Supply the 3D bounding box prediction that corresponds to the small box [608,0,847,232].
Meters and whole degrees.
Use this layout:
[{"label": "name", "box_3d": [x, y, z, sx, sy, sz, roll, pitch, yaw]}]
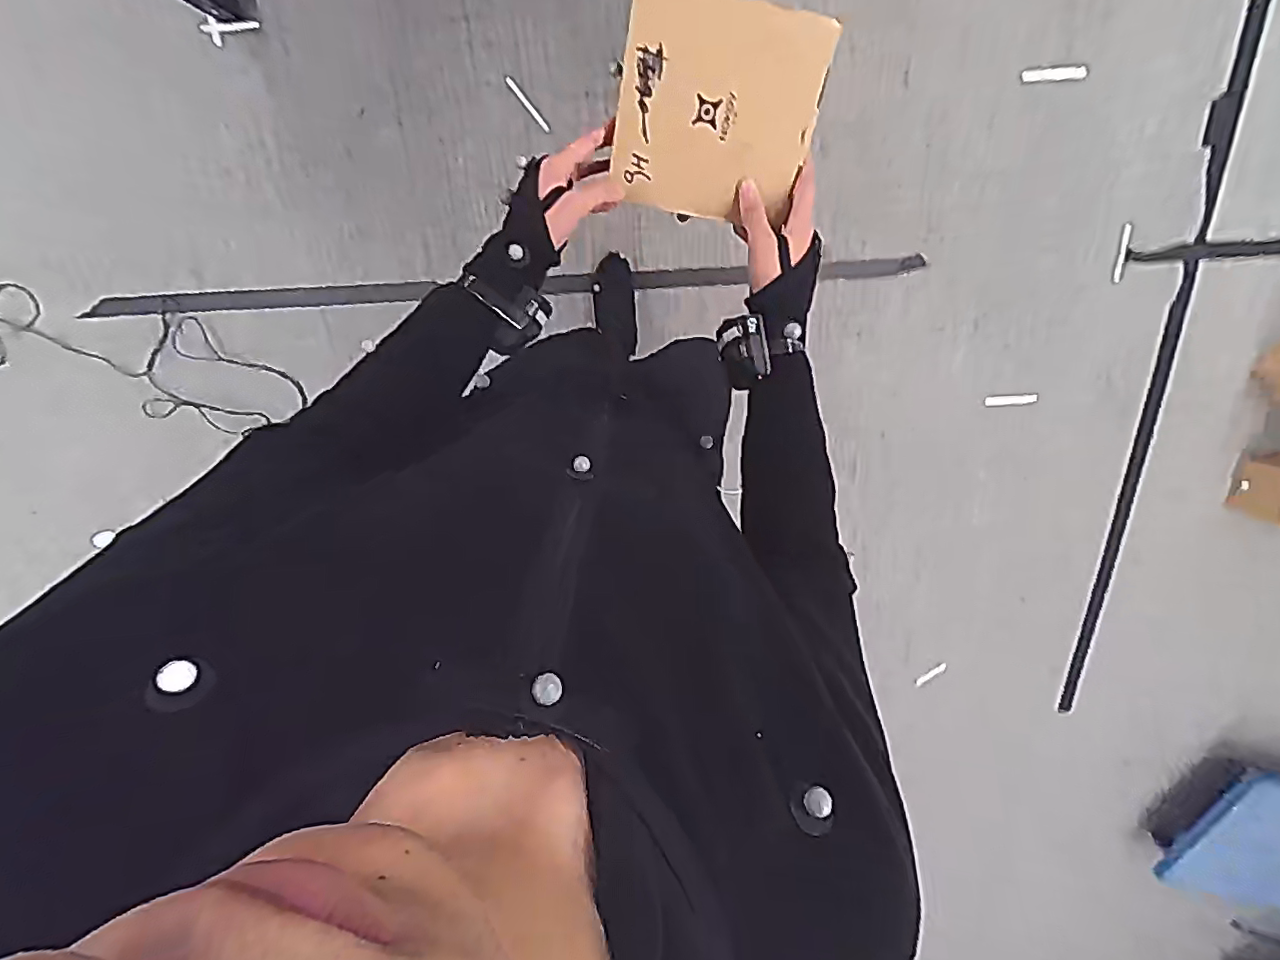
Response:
[{"label": "small box", "box_3d": [0.070, -0.364, 0.541, 0.179, 0.176, 0.168, 9, 121, -6]}]
